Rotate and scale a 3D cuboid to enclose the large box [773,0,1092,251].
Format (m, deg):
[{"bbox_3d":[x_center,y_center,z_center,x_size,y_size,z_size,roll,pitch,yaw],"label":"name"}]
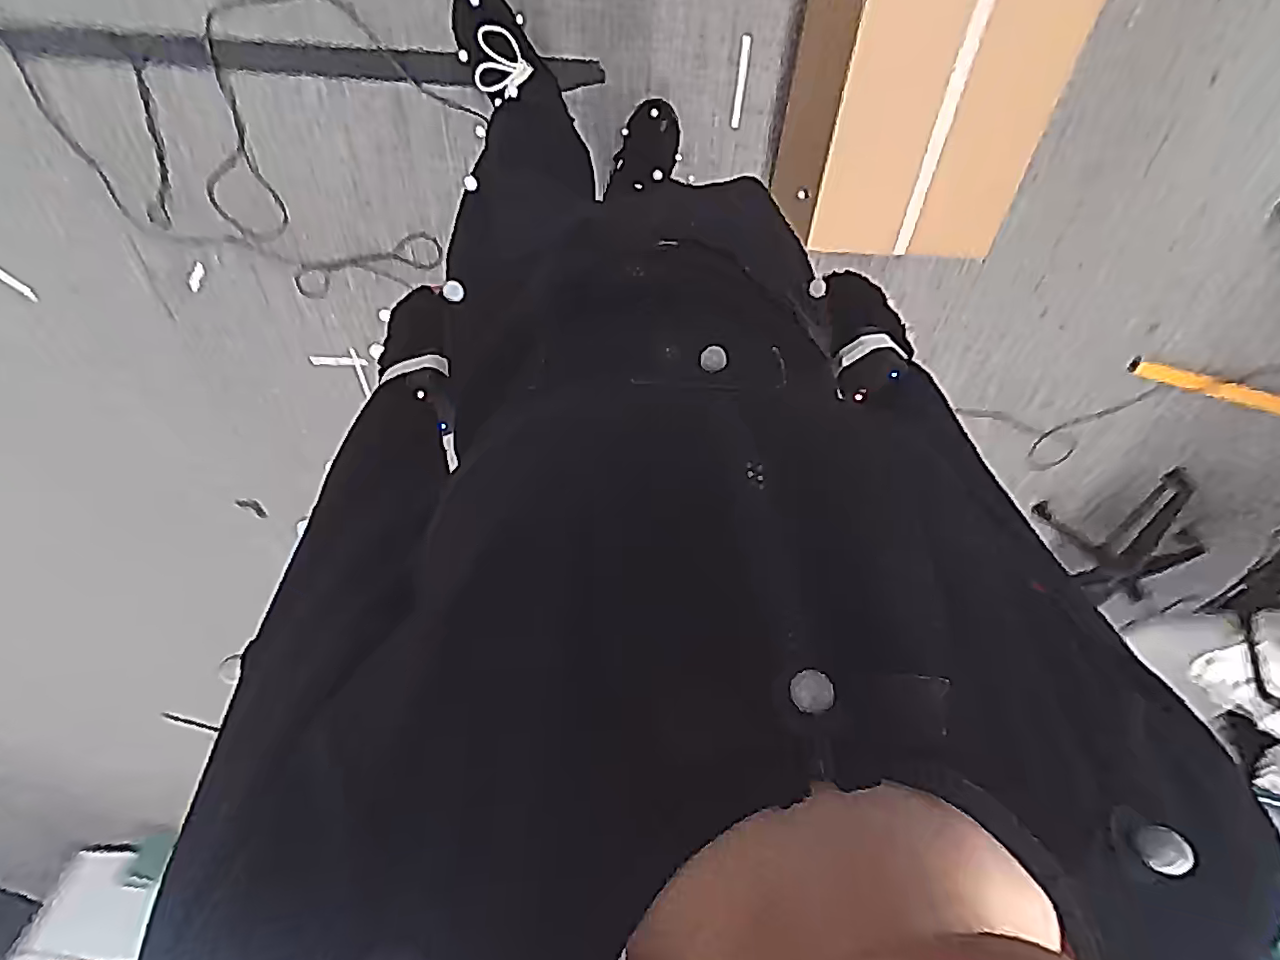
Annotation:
[{"bbox_3d":[0.432,-0.635,0.894,0.320,0.320,0.408,1,131,-3],"label":"large box"}]
